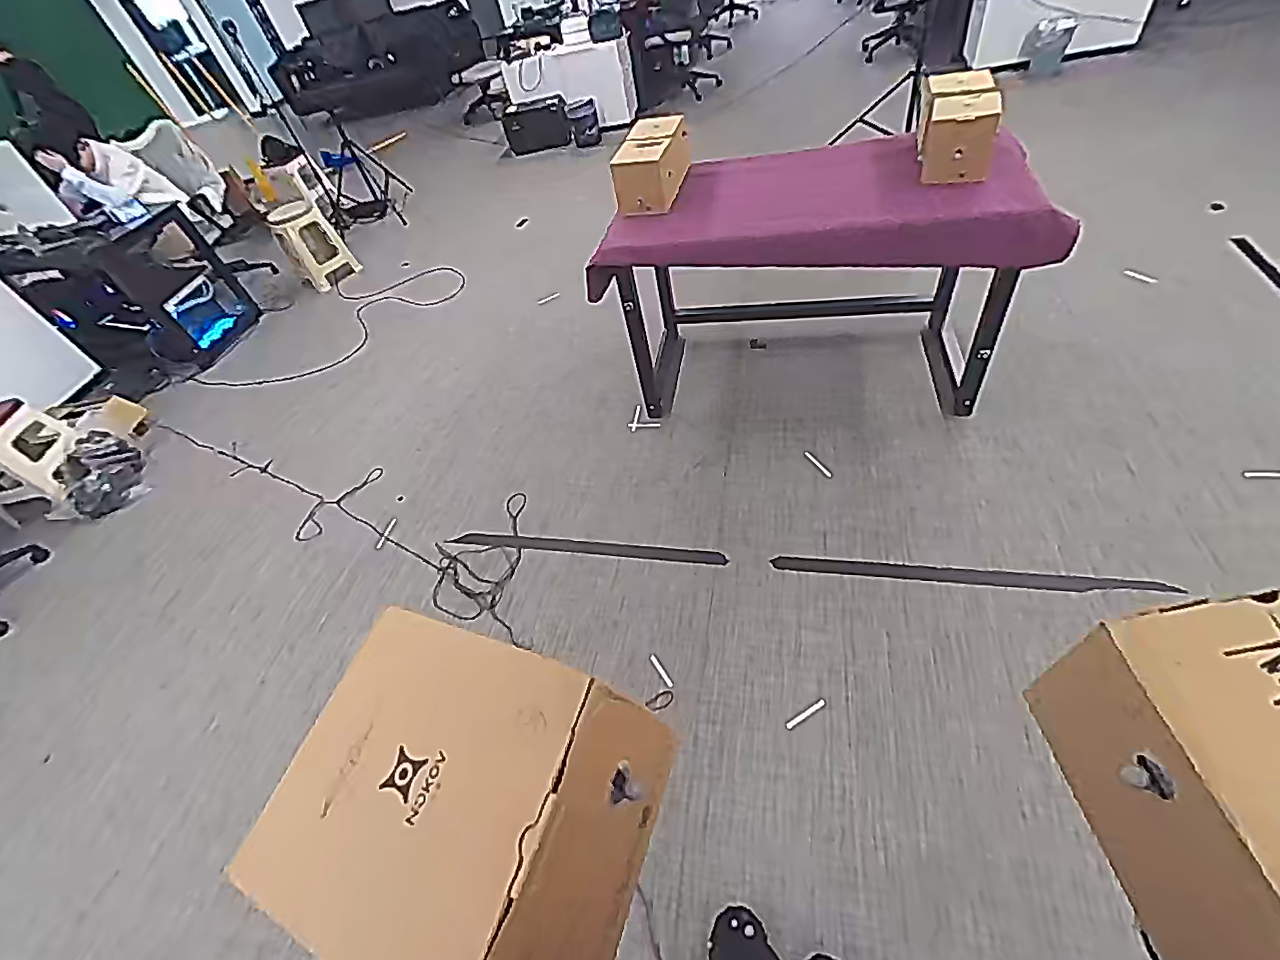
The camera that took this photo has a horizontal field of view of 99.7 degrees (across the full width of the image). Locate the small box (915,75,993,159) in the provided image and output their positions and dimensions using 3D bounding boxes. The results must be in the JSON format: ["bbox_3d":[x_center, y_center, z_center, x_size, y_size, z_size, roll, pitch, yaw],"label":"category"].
[{"bbox_3d":[0.950,-1.104,1.650,0.168,0.176,0.179,5,50,17],"label":"small box"}]

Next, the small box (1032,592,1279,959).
[{"bbox_3d":[0.374,0.178,0.313,0.168,0.176,0.179,-15,54,9],"label":"small box"}]

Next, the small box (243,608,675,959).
[{"bbox_3d":[-0.094,0.209,0.361,0.179,0.176,0.168,7,59,28],"label":"small box"}]

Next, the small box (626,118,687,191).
[{"bbox_3d":[0.064,-1.136,1.892,0.168,0.176,0.179,5,52,18],"label":"small box"}]
